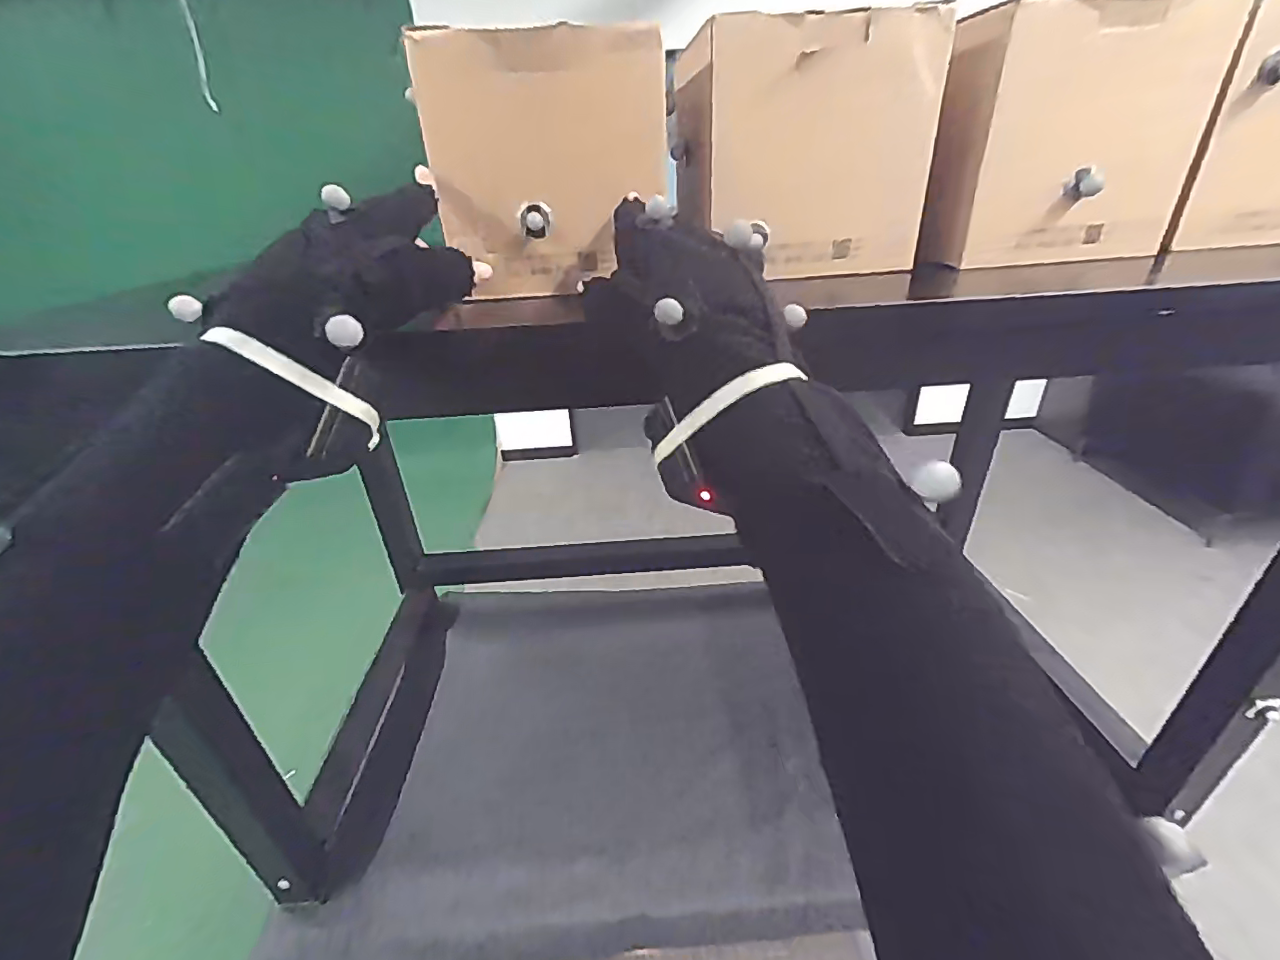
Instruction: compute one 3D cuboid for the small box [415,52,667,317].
[{"bbox_3d":[-0.067,-0.241,0.461,0.168,0.176,0.179,-5,29,-2],"label":"small box"}]
